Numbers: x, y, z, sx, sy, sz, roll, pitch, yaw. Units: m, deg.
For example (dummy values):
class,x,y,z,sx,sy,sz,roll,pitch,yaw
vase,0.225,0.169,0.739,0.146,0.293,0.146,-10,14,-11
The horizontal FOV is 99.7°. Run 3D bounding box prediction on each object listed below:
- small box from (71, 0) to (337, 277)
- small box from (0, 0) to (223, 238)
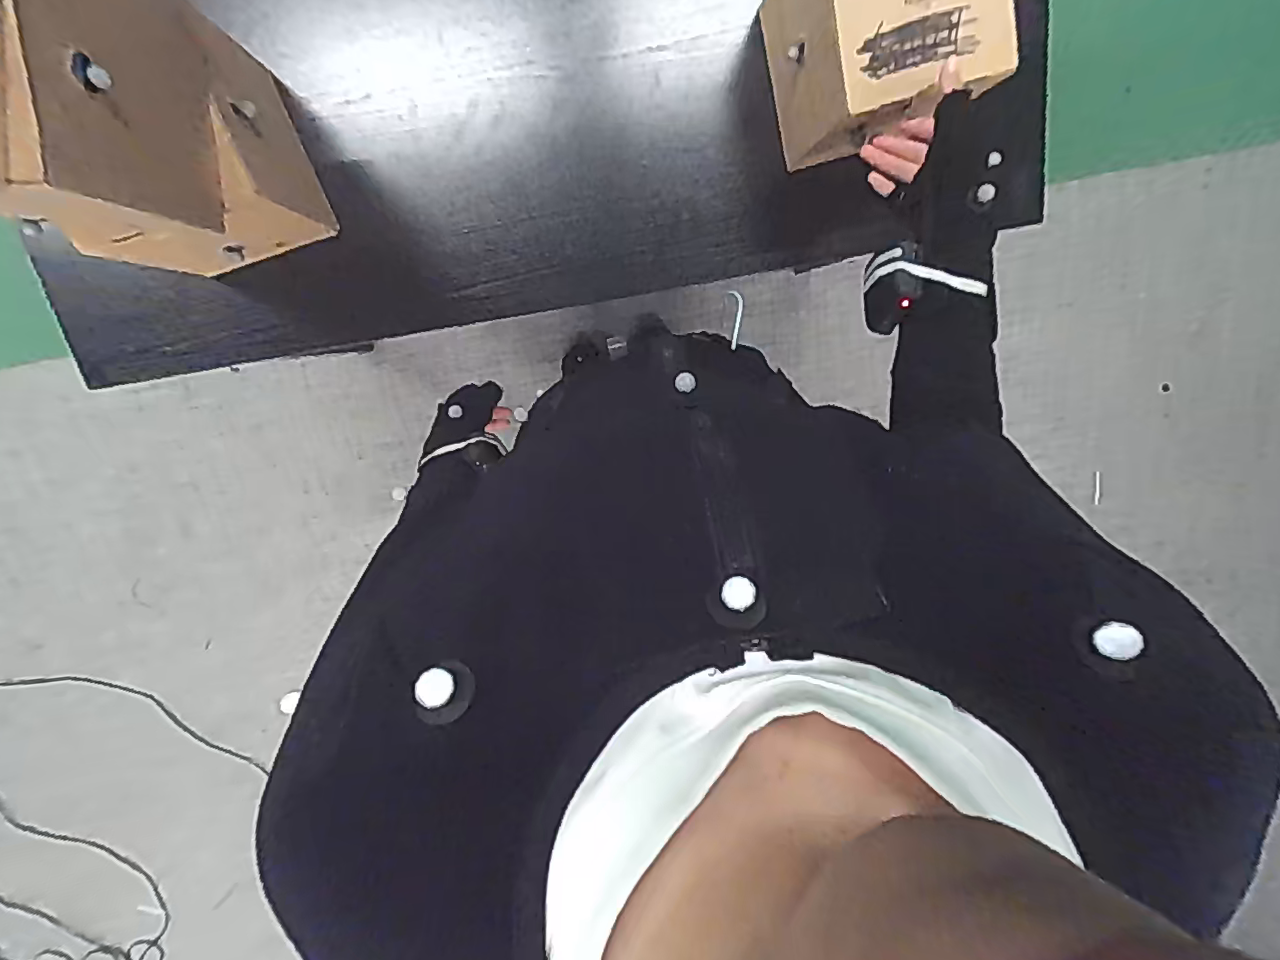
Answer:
class,x,y,z,sx,sy,sz,roll,pitch,yaw
small box,-0.444,-0.319,0.534,0.168,0.176,0.179,-19,106,0
small box,-0.432,-0.277,0.376,0.168,0.176,0.179,1,104,-6
